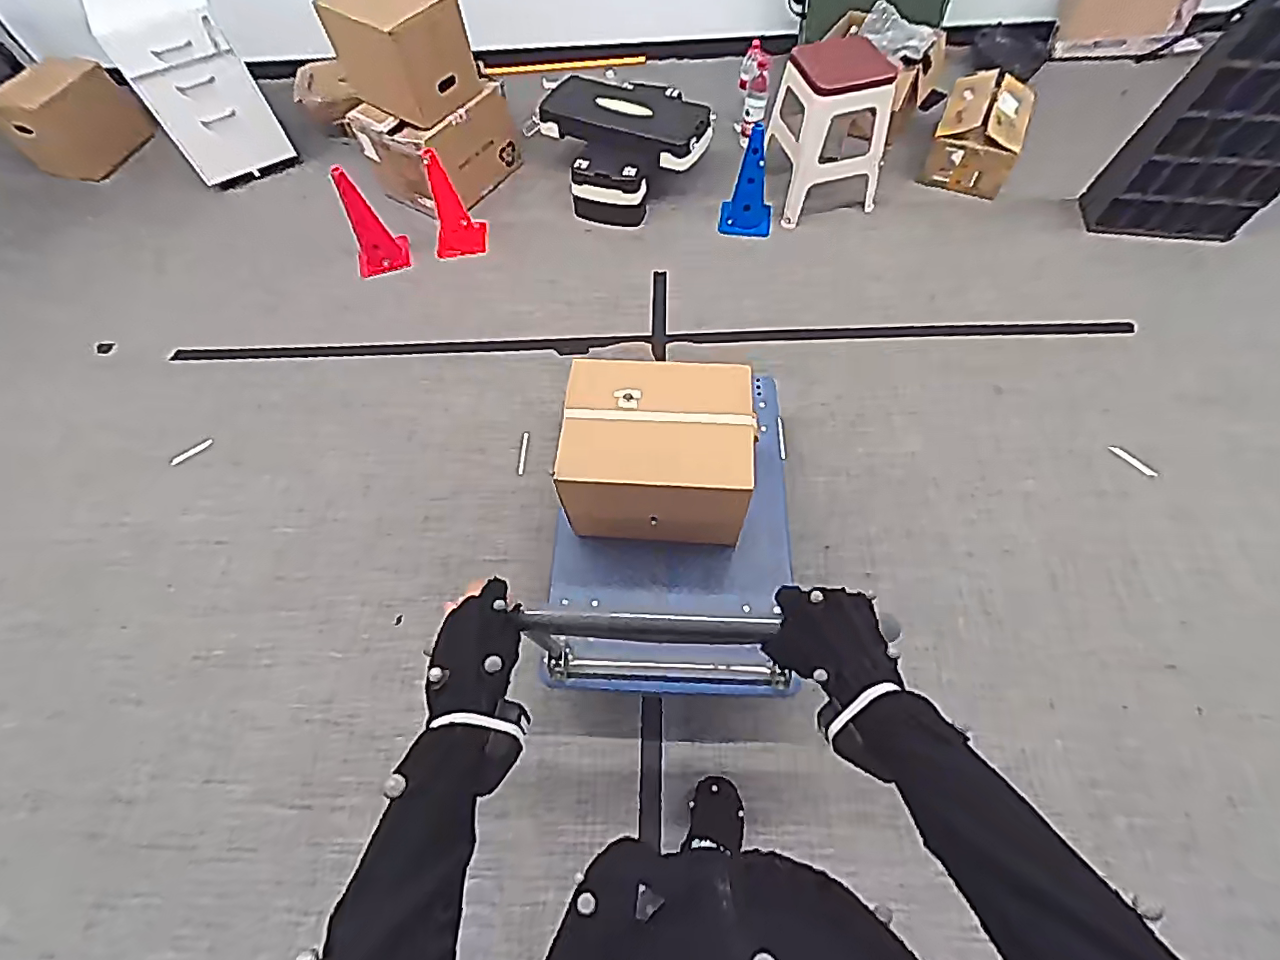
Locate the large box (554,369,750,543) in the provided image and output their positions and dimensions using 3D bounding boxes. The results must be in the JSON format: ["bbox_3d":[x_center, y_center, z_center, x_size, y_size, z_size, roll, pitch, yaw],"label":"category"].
[{"bbox_3d":[0.041,-0.048,1.289,0.408,0.320,0.320,2,63,5],"label":"large box"}]
